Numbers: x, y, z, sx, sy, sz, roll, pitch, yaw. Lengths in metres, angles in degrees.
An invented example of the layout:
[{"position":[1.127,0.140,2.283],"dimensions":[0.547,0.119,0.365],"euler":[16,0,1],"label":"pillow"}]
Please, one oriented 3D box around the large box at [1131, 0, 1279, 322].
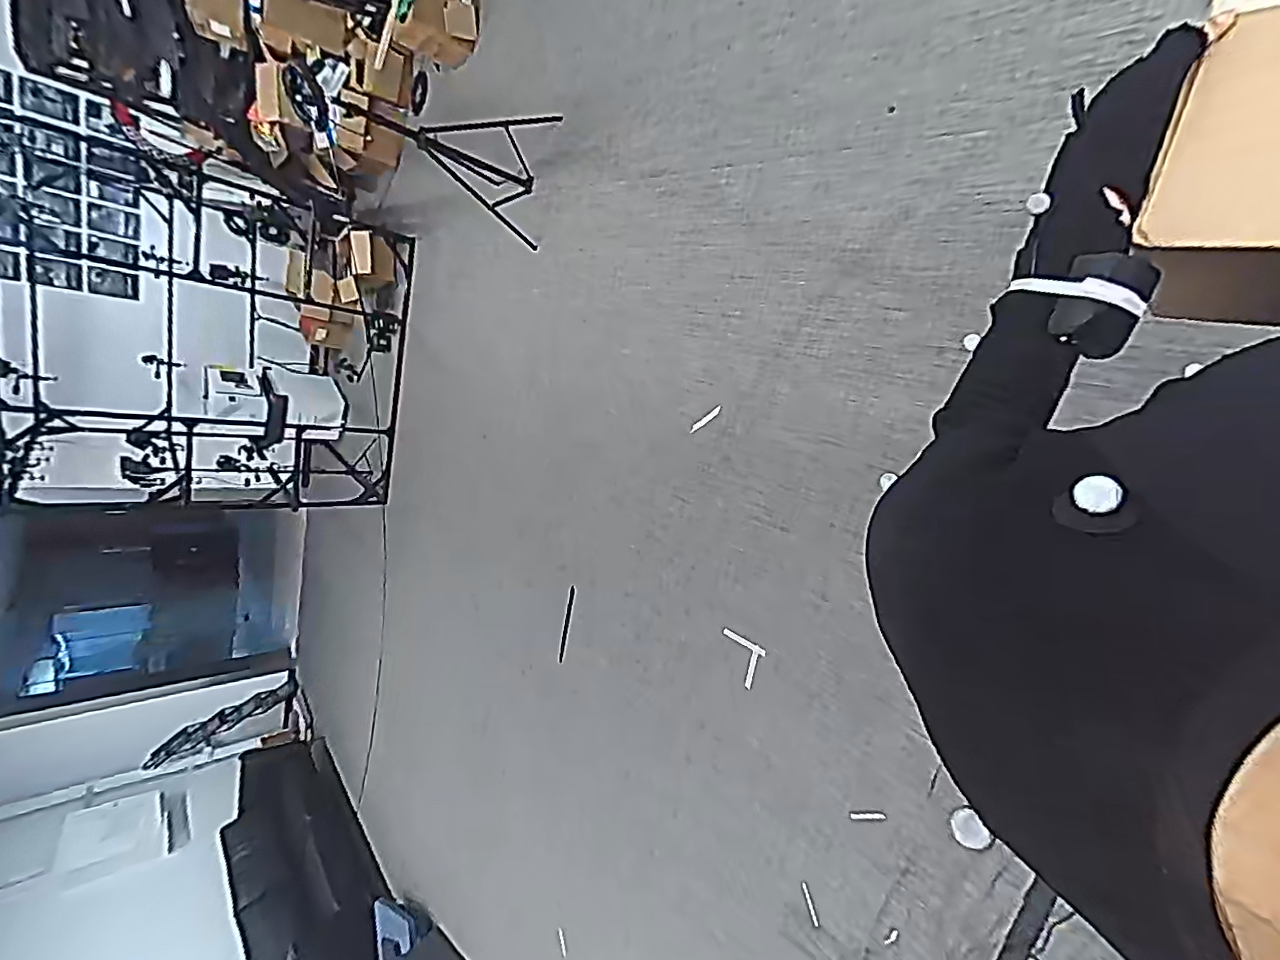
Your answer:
[{"position":[0.639,-0.277,0.355],"dimensions":[0.408,0.320,0.320],"euler":[23,109,42],"label":"large box"}]
